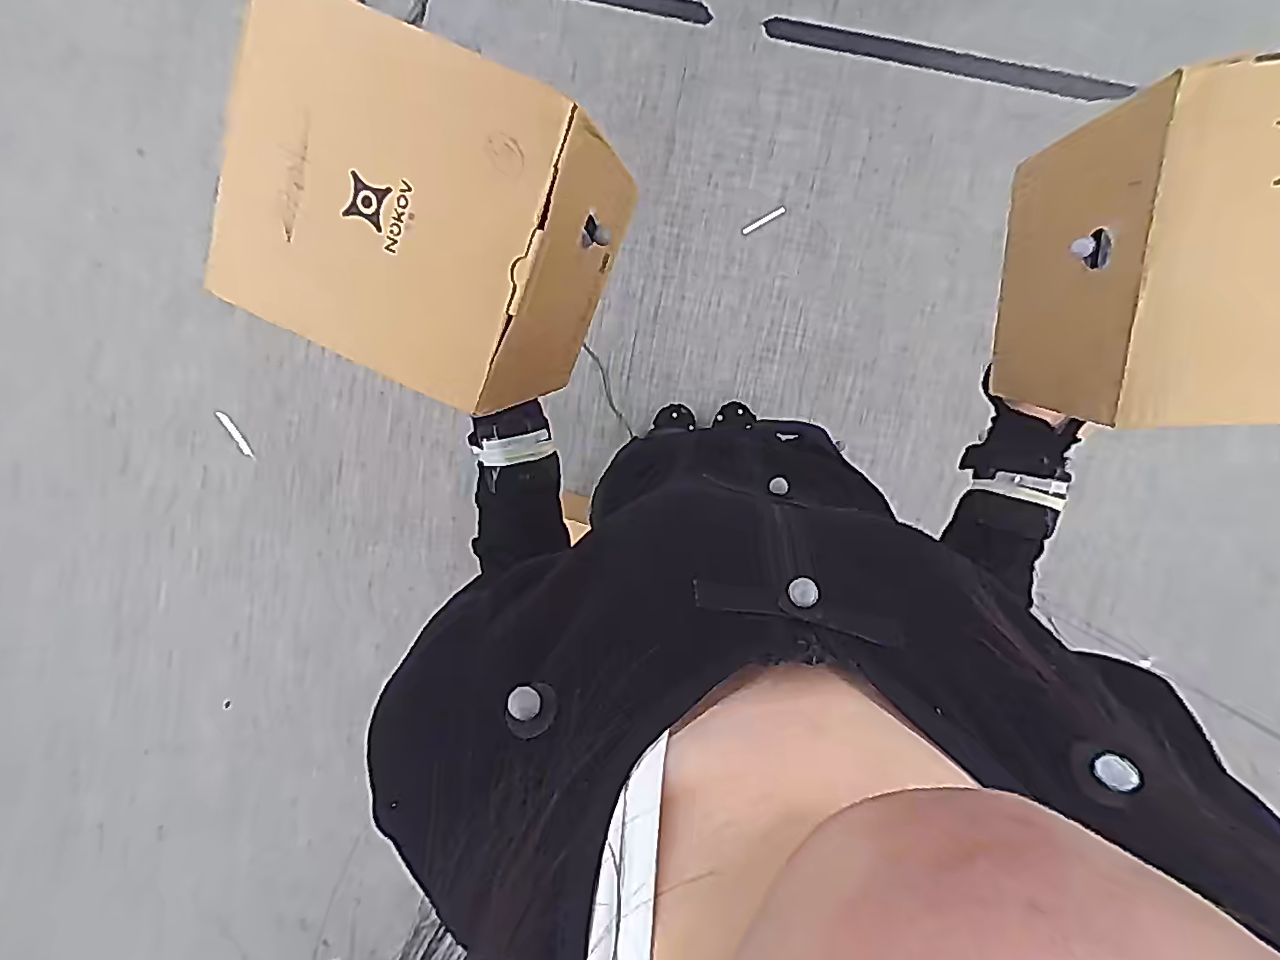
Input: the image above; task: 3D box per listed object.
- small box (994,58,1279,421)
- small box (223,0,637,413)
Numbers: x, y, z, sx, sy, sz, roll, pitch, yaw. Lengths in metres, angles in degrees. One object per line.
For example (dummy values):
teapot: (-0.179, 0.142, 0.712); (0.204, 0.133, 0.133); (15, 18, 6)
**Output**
small box: (0.357, -0.137, 0.346); (0.168, 0.176, 0.179); (0, 106, 11)
small box: (-0.117, -0.164, 0.358); (0.179, 0.176, 0.168); (25, 107, 3)
